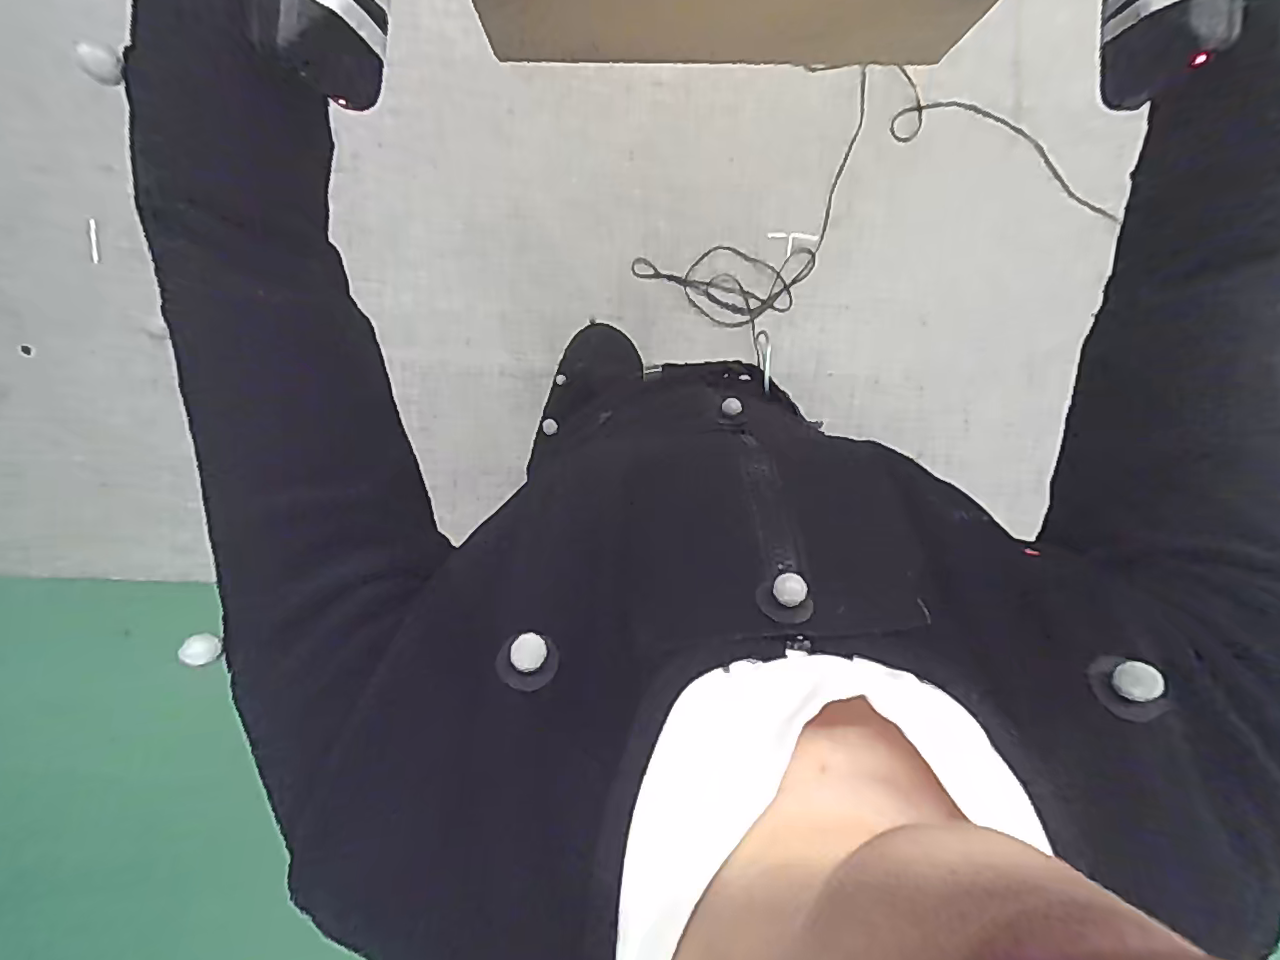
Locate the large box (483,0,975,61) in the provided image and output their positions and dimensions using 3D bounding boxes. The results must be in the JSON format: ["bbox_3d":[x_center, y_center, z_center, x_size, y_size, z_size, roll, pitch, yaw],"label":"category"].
[{"bbox_3d":[0.072,-0.509,0.323,0.408,0.320,0.320,-2,101,-2],"label":"large box"}]
